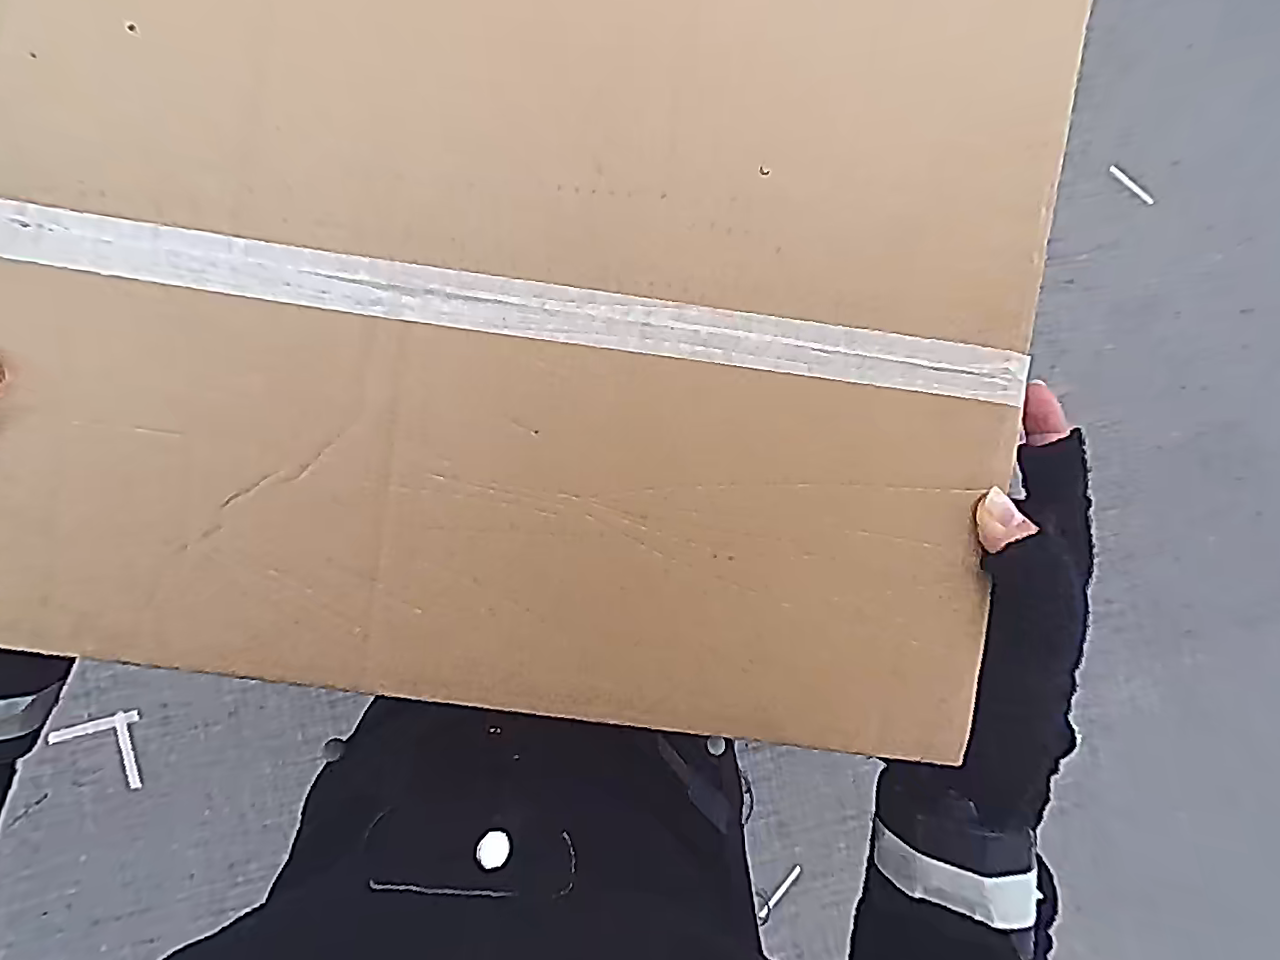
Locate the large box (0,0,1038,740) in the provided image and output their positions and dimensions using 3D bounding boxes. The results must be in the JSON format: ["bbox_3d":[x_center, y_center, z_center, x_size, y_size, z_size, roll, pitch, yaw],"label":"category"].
[{"bbox_3d":[-0.053,-0.067,0.370,0.408,0.320,0.320,8,91,-2],"label":"large box"}]
